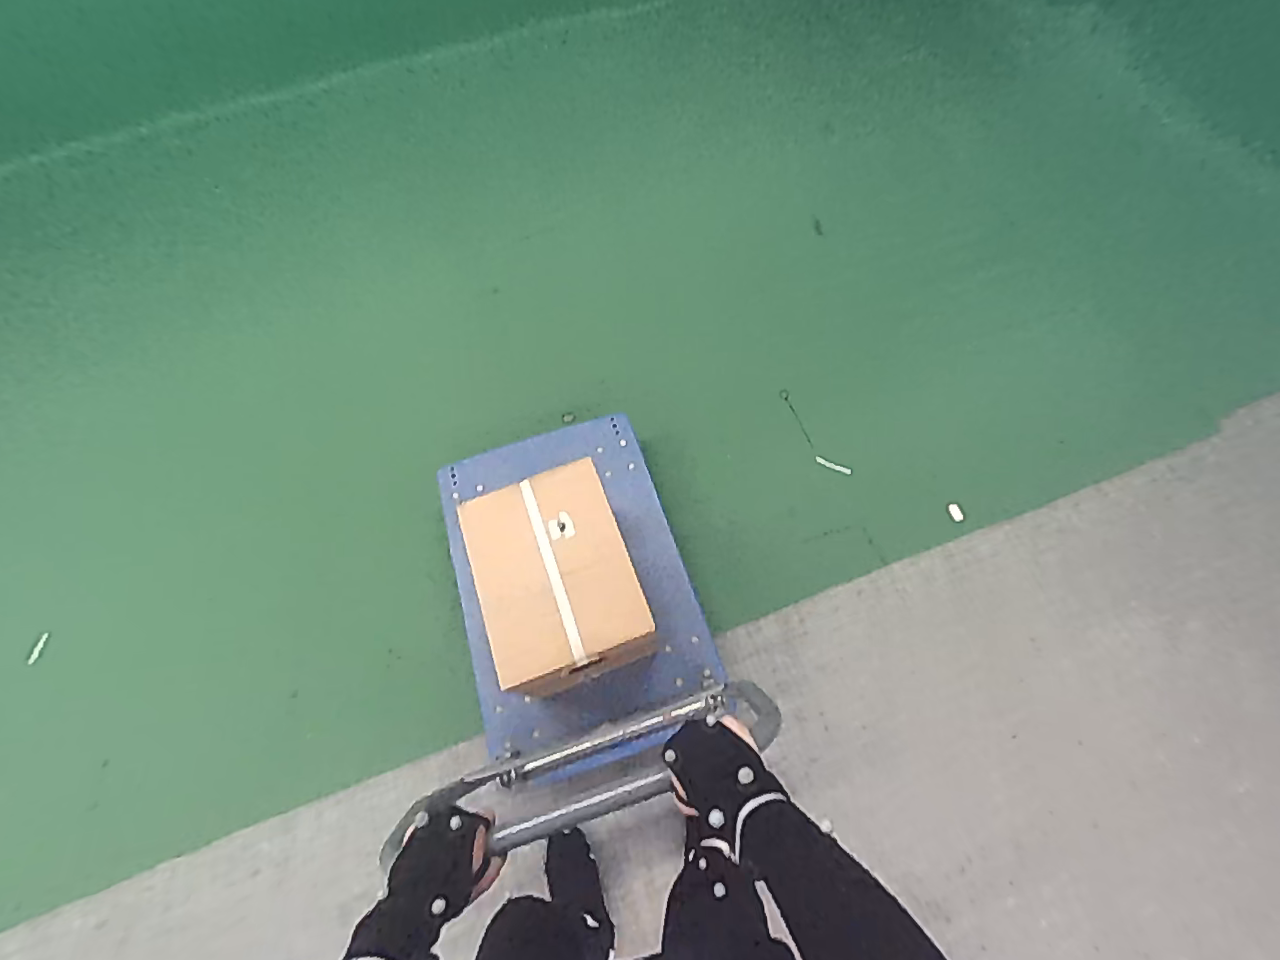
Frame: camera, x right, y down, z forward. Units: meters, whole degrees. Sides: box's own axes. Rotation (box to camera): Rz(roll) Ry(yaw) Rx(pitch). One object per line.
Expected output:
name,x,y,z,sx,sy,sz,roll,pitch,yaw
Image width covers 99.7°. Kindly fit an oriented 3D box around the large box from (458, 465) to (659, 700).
large box,-0.173,0.244,1.243,0.320,0.320,0.408,-20,66,-6
